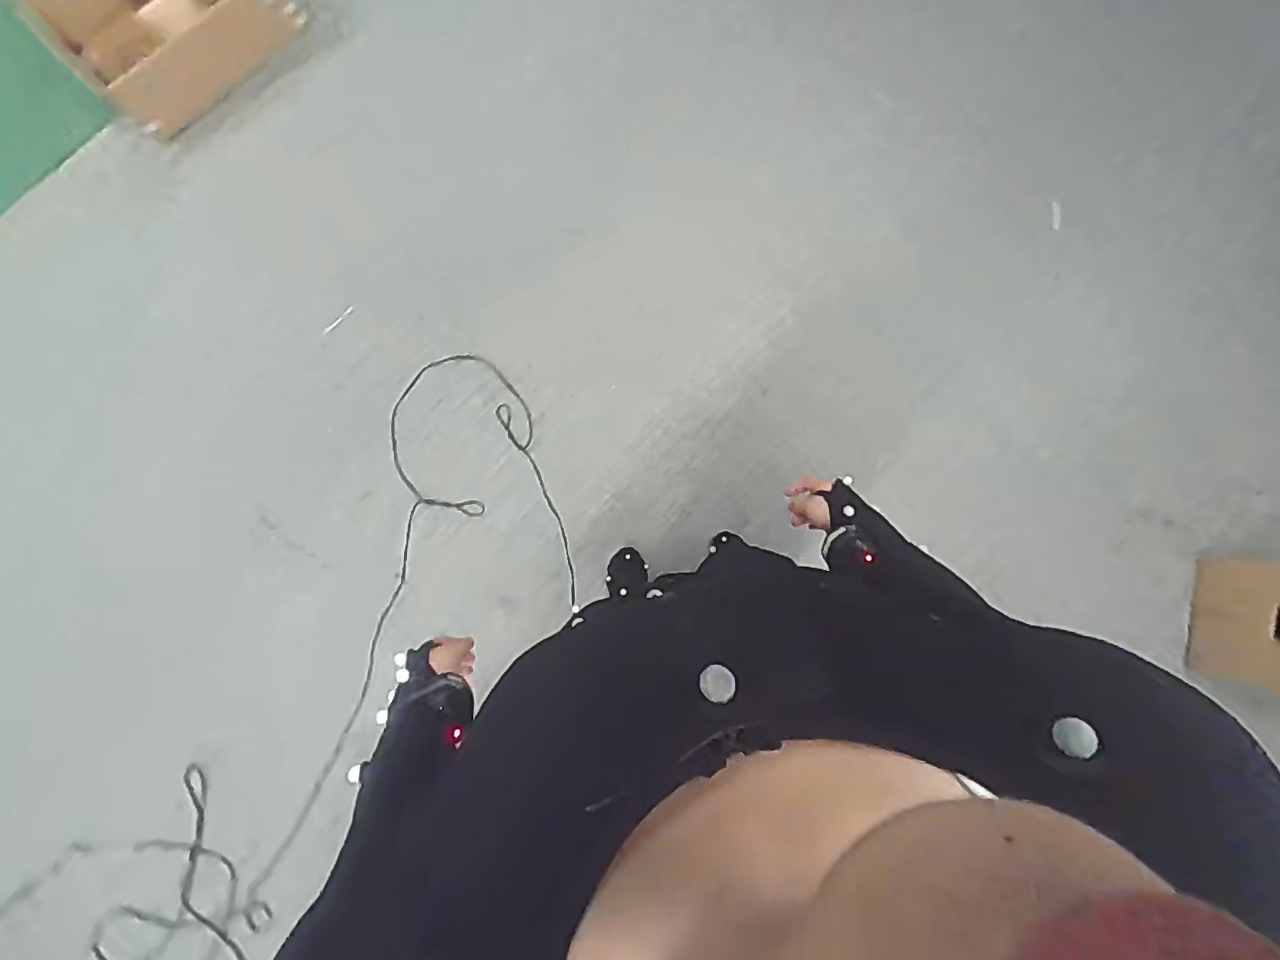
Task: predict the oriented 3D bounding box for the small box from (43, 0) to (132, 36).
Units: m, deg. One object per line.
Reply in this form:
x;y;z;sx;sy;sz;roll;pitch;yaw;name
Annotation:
-1.502;-1.324;1.408;0.179;0.176;0.168;-43;86;-5;small box
